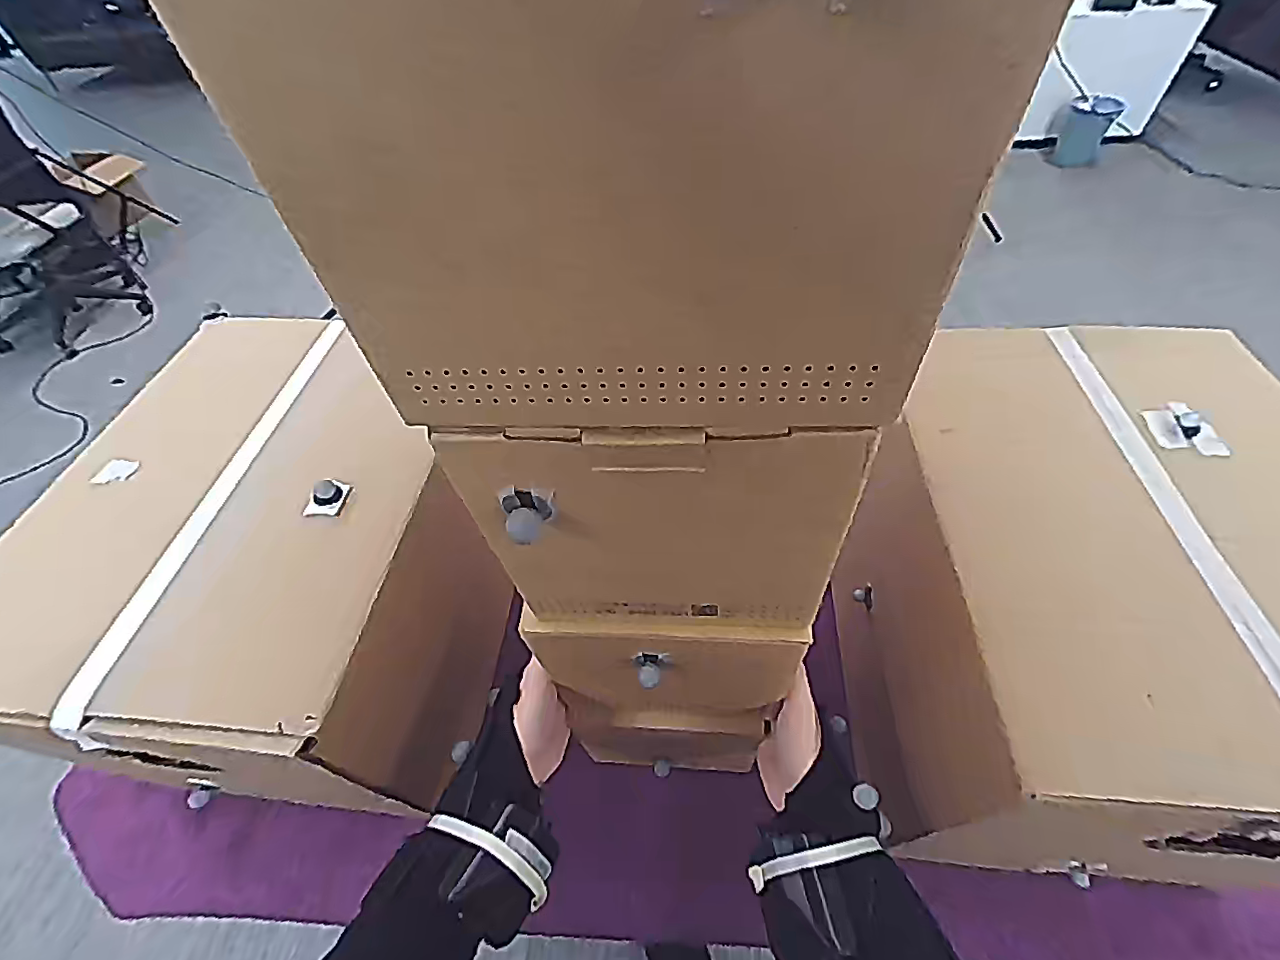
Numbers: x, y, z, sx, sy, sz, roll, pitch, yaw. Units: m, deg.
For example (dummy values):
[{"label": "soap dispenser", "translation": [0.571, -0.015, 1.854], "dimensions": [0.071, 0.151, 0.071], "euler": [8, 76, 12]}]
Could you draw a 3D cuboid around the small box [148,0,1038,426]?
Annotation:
[{"label": "small box", "translation": [-0.001, -0.130, 0.177], "dimensions": [0.179, 0.176, 0.168], "euler": [0, 51, 7]}]

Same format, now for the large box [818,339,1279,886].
[{"label": "large box", "translation": [0.375, 0.117, 0.510], "dimensions": [0.320, 0.320, 0.408], "euler": [1, 50, 5]}]

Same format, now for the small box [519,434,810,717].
[{"label": "small box", "translation": [0.025, 0.080, 0.429], "dimensions": [0.179, 0.176, 0.168], "euler": [0, 52, 7]}]
